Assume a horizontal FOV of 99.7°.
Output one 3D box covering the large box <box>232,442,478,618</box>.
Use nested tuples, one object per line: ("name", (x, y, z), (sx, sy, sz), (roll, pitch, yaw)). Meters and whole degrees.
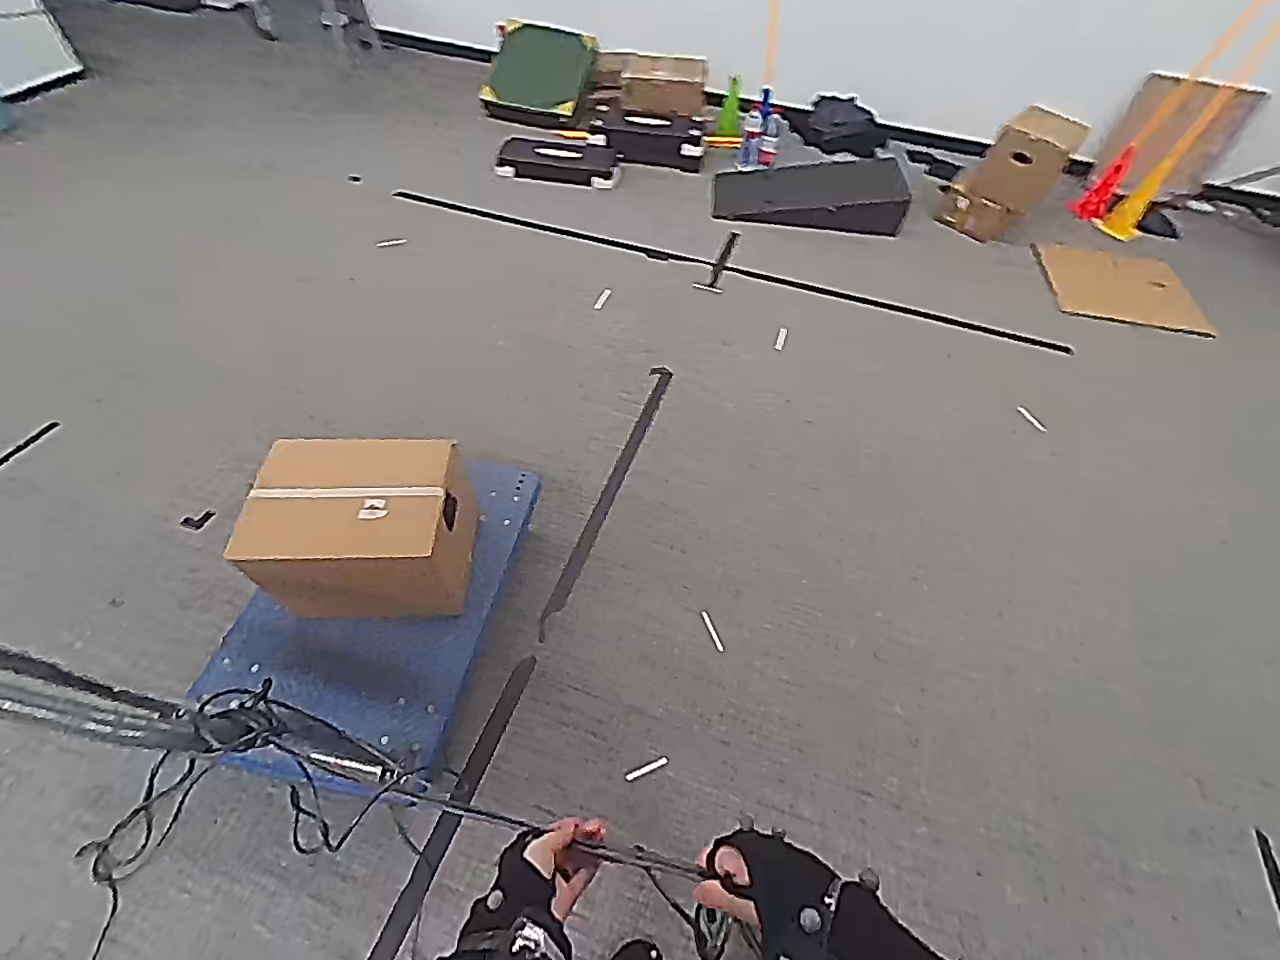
("large box", (-0.632, 0.124, 1.291), (0.408, 0.320, 0.320), (0, 54, -5))
